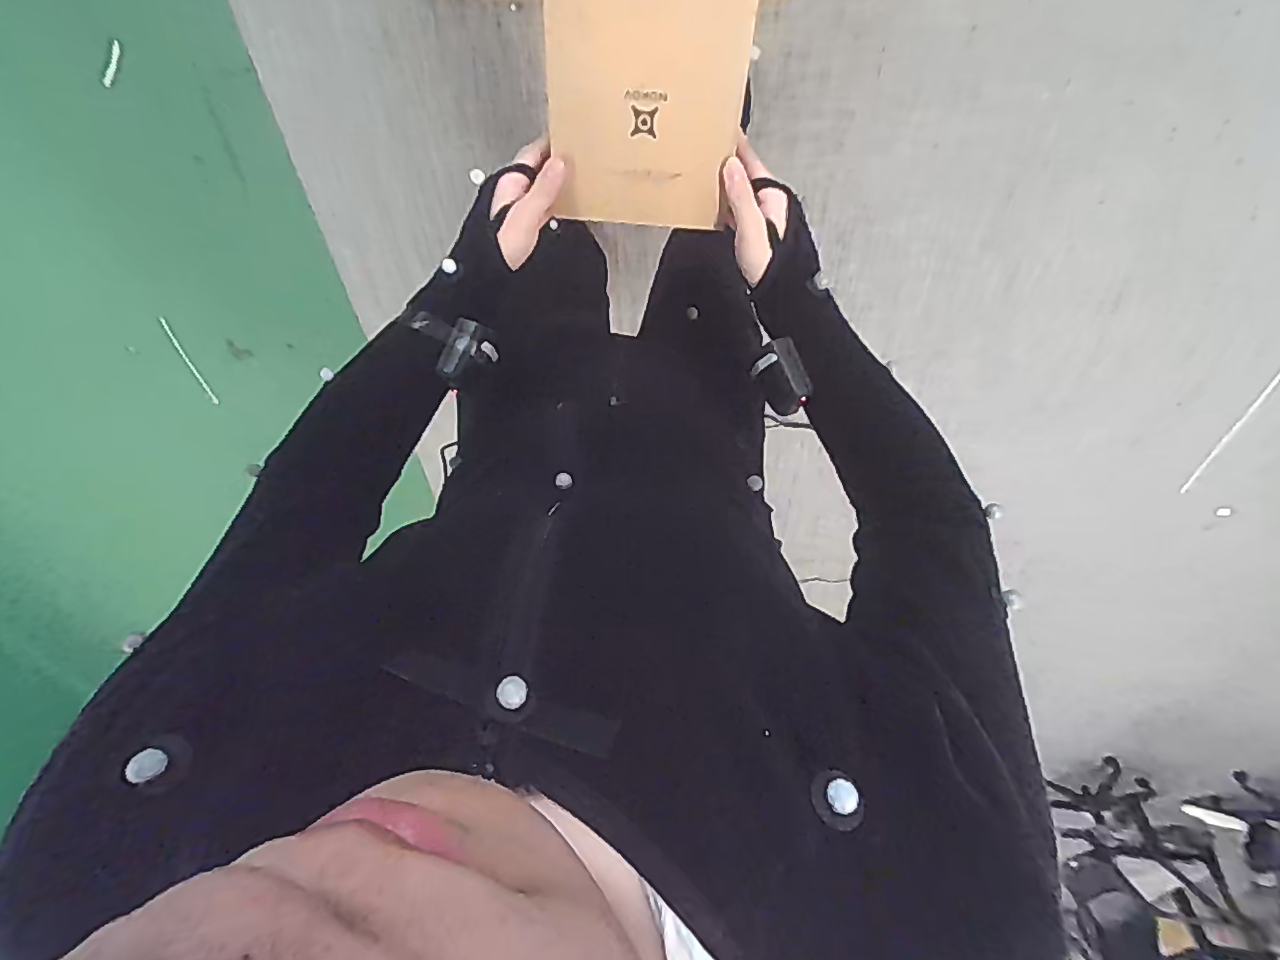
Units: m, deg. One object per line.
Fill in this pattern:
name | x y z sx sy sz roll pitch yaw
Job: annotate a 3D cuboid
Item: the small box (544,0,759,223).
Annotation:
small box | 0.006 -0.366 0.511 0.168 0.176 0.179 5 132 0
